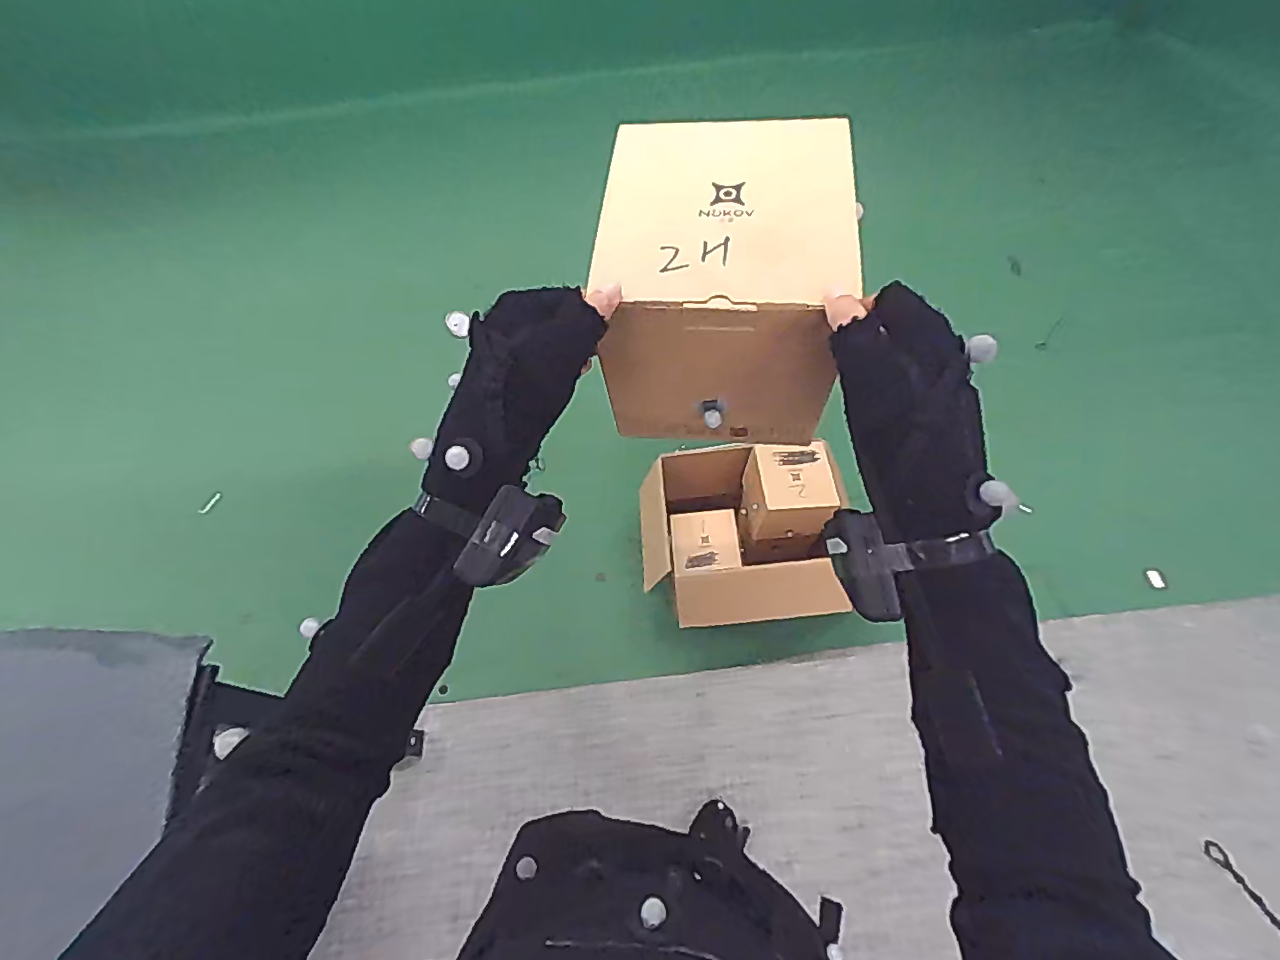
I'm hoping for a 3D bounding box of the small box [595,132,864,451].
[{"bbox_3d":[0.069,-0.144,0.434,0.168,0.176,0.179,3,64,8],"label":"small box"}]
